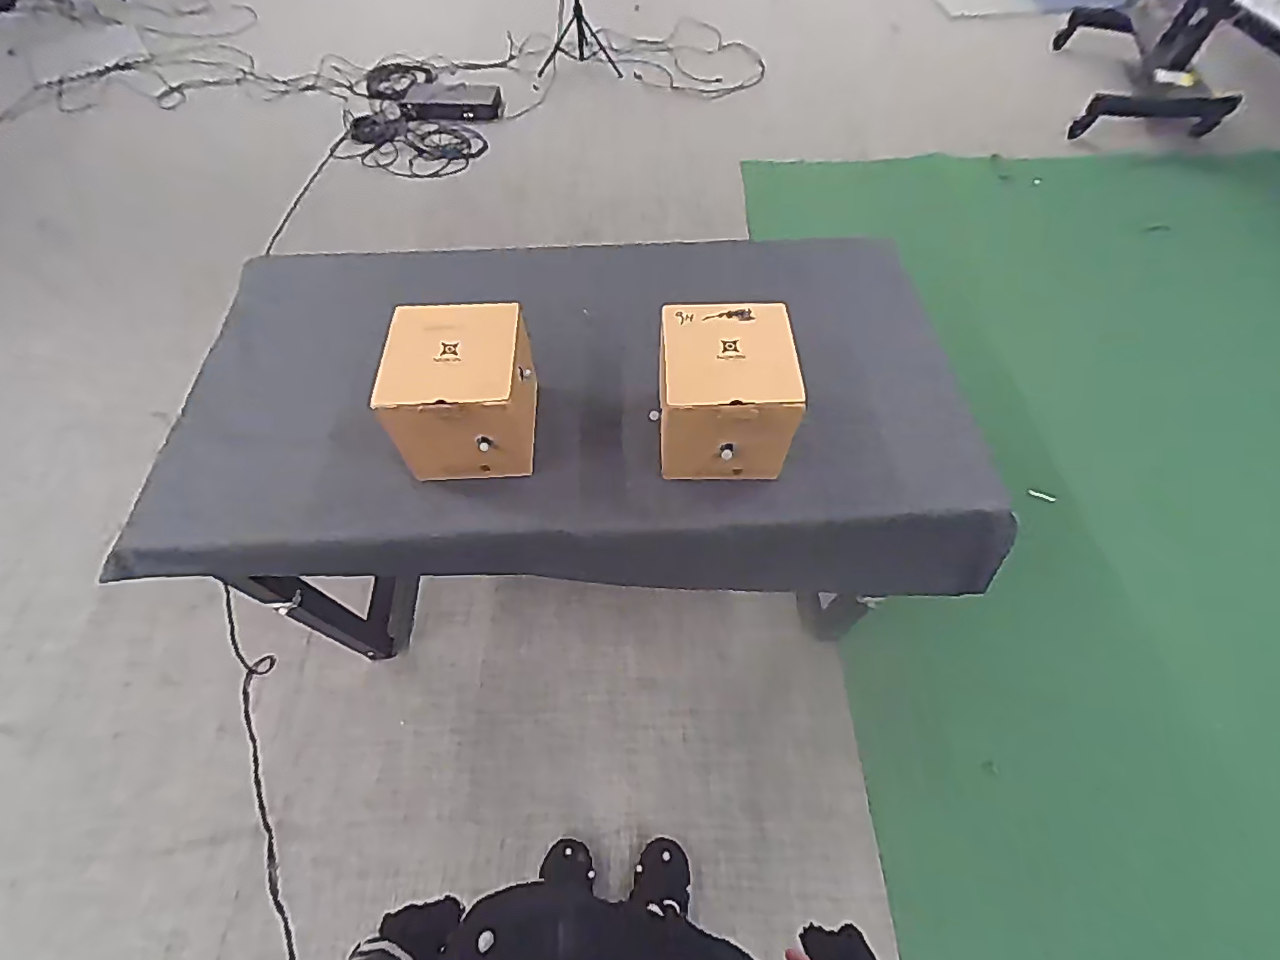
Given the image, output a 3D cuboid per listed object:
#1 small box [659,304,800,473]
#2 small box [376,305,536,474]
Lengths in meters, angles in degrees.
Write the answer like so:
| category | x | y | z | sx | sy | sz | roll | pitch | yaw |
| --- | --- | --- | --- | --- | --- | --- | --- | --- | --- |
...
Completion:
| category | x | y | z | sx | sy | sz | roll | pitch | yaw |
| --- | --- | --- | --- | --- | --- | --- | --- | --- | --- |
| small box | 0.111 | -0.120 | 0.754 | 0.168 | 0.176 | 0.179 | -1 | 59 | 0 |
| small box | -0.240 | -0.119 | 0.758 | 0.168 | 0.176 | 0.179 | -3 | 57 | -3 |
